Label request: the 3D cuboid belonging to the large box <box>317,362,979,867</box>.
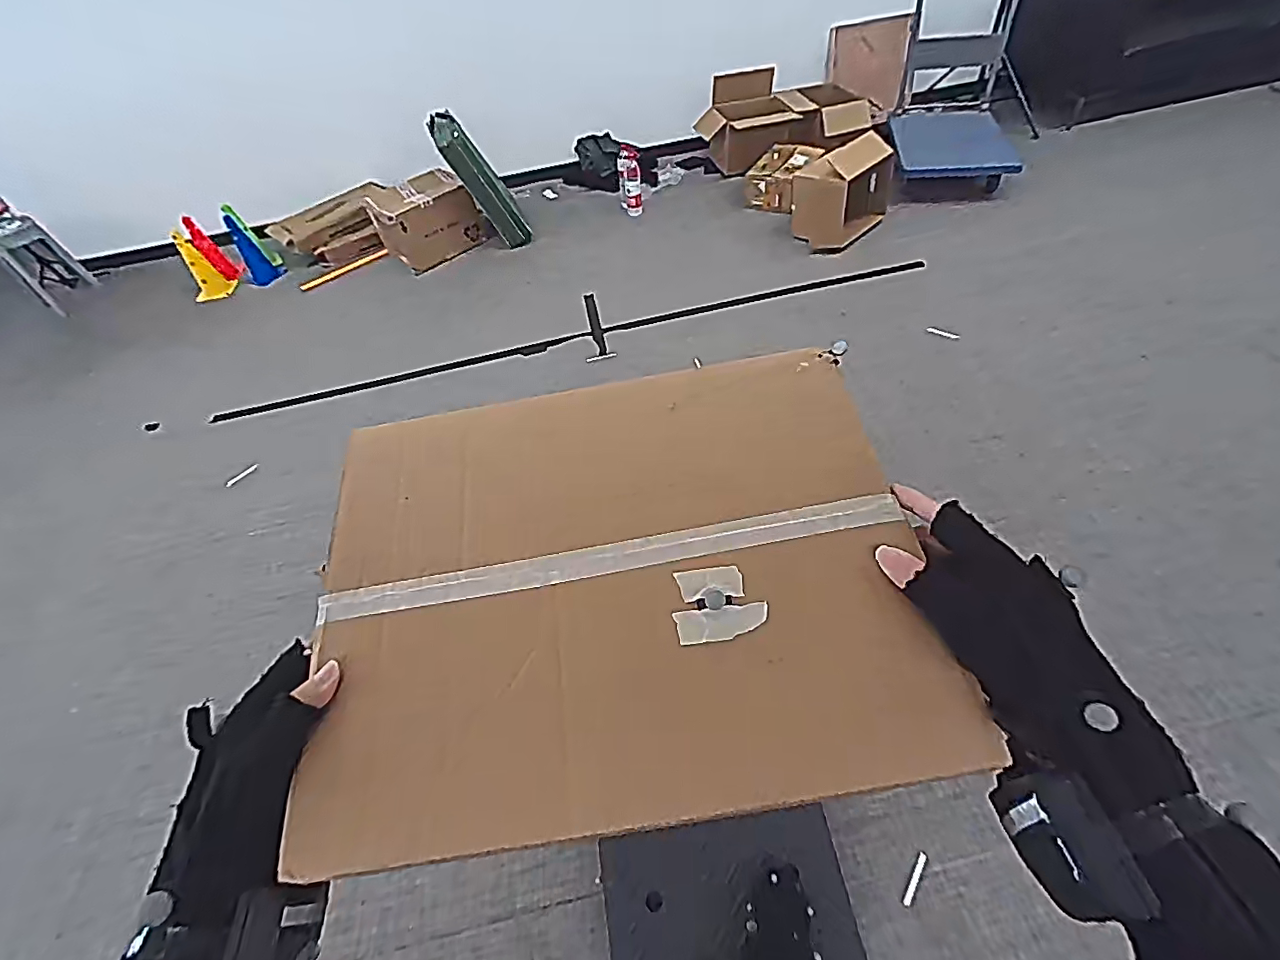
[{"bbox_3d":[-0.004,0.137,0.517,0.408,0.320,0.320,-10,59,1],"label":"large box"}]
